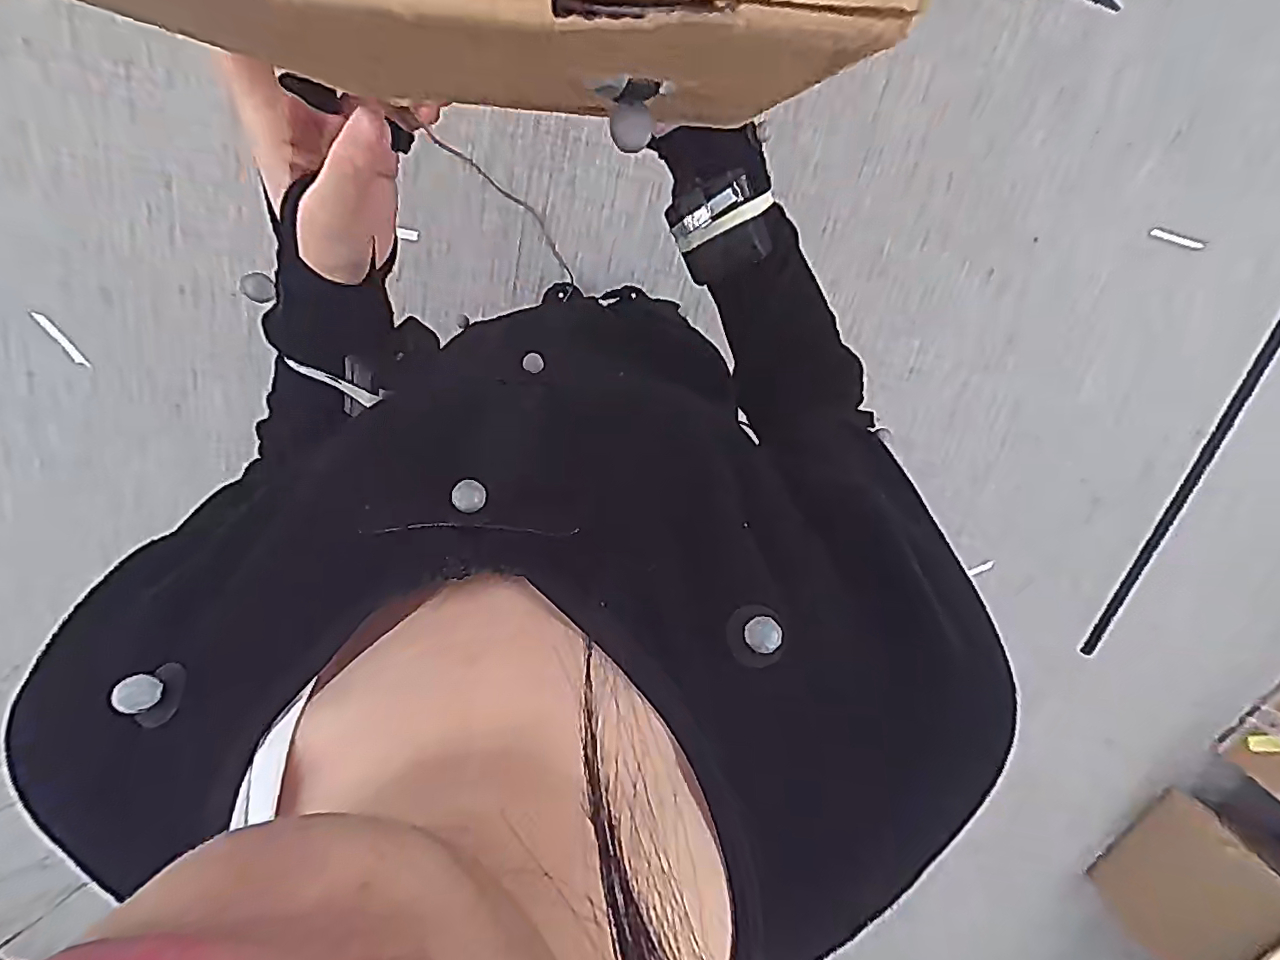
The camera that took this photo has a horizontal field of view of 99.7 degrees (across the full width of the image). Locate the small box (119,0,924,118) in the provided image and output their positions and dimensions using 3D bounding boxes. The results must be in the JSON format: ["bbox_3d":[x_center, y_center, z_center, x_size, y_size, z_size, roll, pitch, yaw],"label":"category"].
[{"bbox_3d":[-0.028,-0.192,0.114,0.168,0.176,0.179,3,118,-4],"label":"small box"}]
